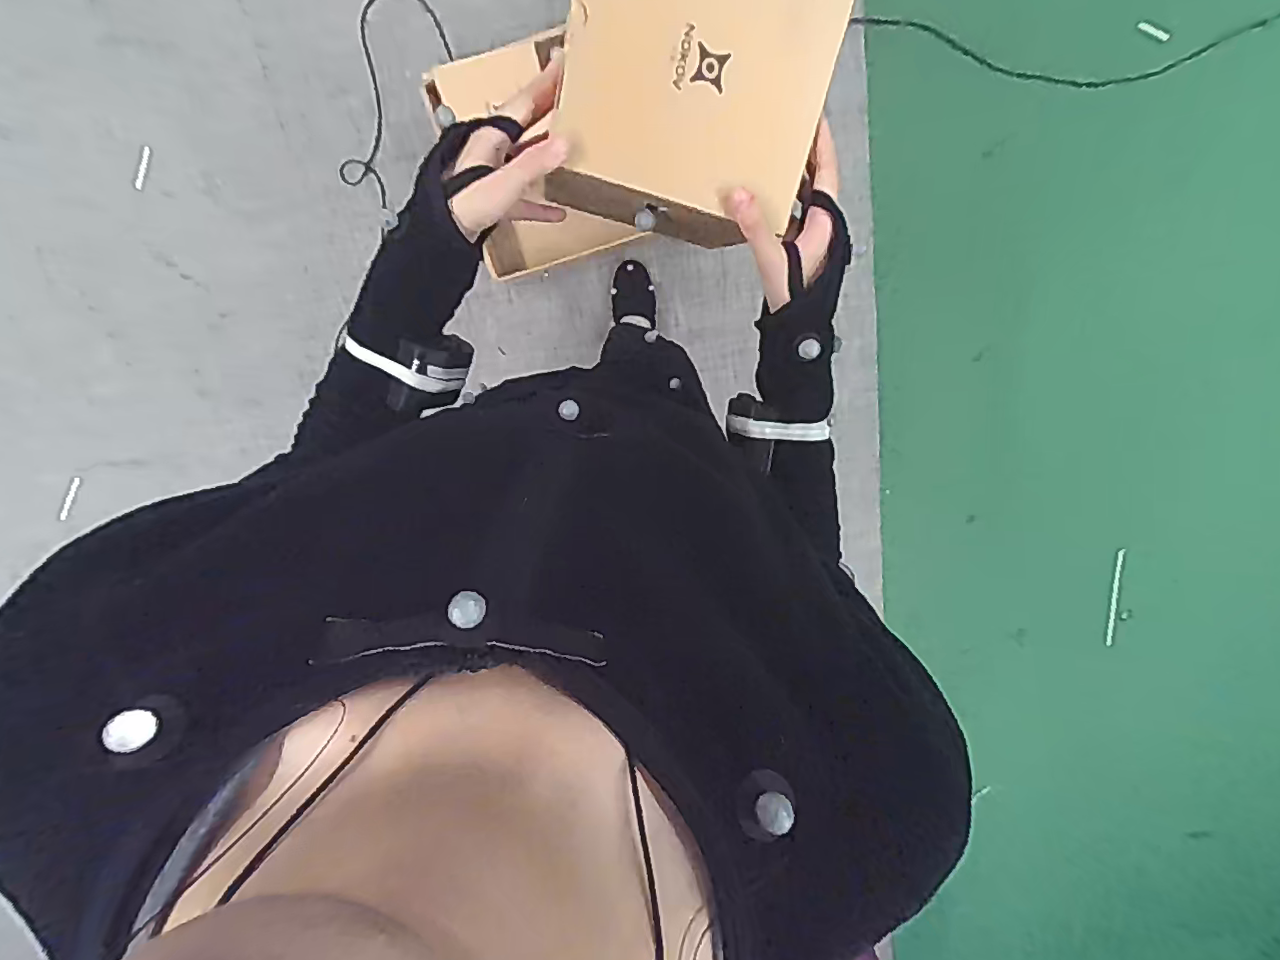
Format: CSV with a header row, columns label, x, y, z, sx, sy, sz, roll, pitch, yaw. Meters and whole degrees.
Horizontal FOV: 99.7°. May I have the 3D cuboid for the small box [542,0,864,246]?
label,x,y,z,sx,sy,sz,roll,pitch,yaw
small box,0.028,-0.291,0.418,0.179,0.176,0.168,12,107,-15

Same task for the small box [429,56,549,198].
label,x,y,z,sx,sy,sz,roll,pitch,yaw
small box,-0.254,-0.629,0.984,0.179,0.176,0.168,-14,112,-2
